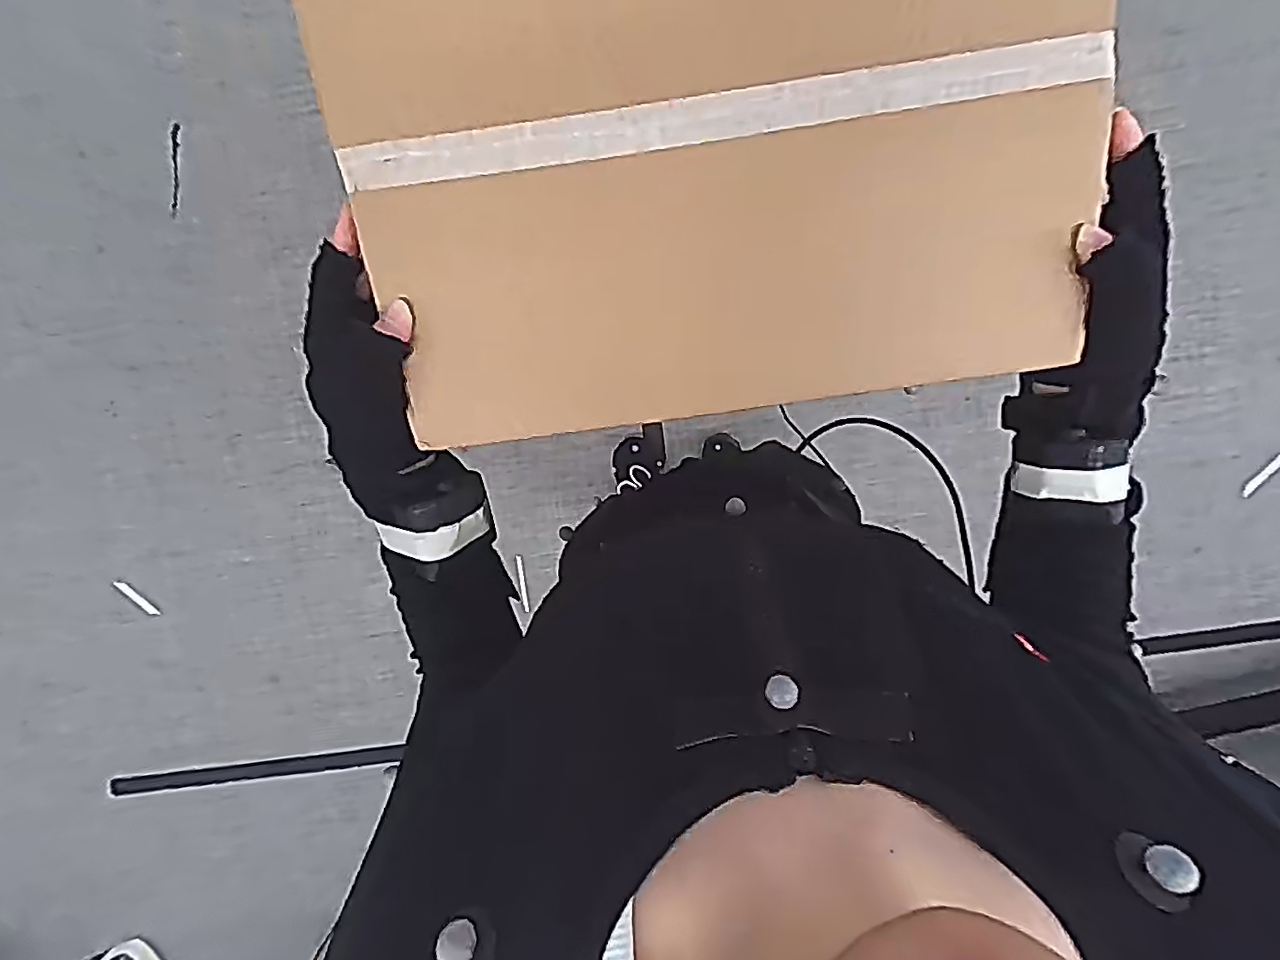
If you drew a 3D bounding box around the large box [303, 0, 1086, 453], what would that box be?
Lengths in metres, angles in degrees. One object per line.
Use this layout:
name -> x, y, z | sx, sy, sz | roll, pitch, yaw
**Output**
large box -> 0.035, -0.236, 0.436 | 0.408, 0.320, 0.320 | -8, 107, 1
